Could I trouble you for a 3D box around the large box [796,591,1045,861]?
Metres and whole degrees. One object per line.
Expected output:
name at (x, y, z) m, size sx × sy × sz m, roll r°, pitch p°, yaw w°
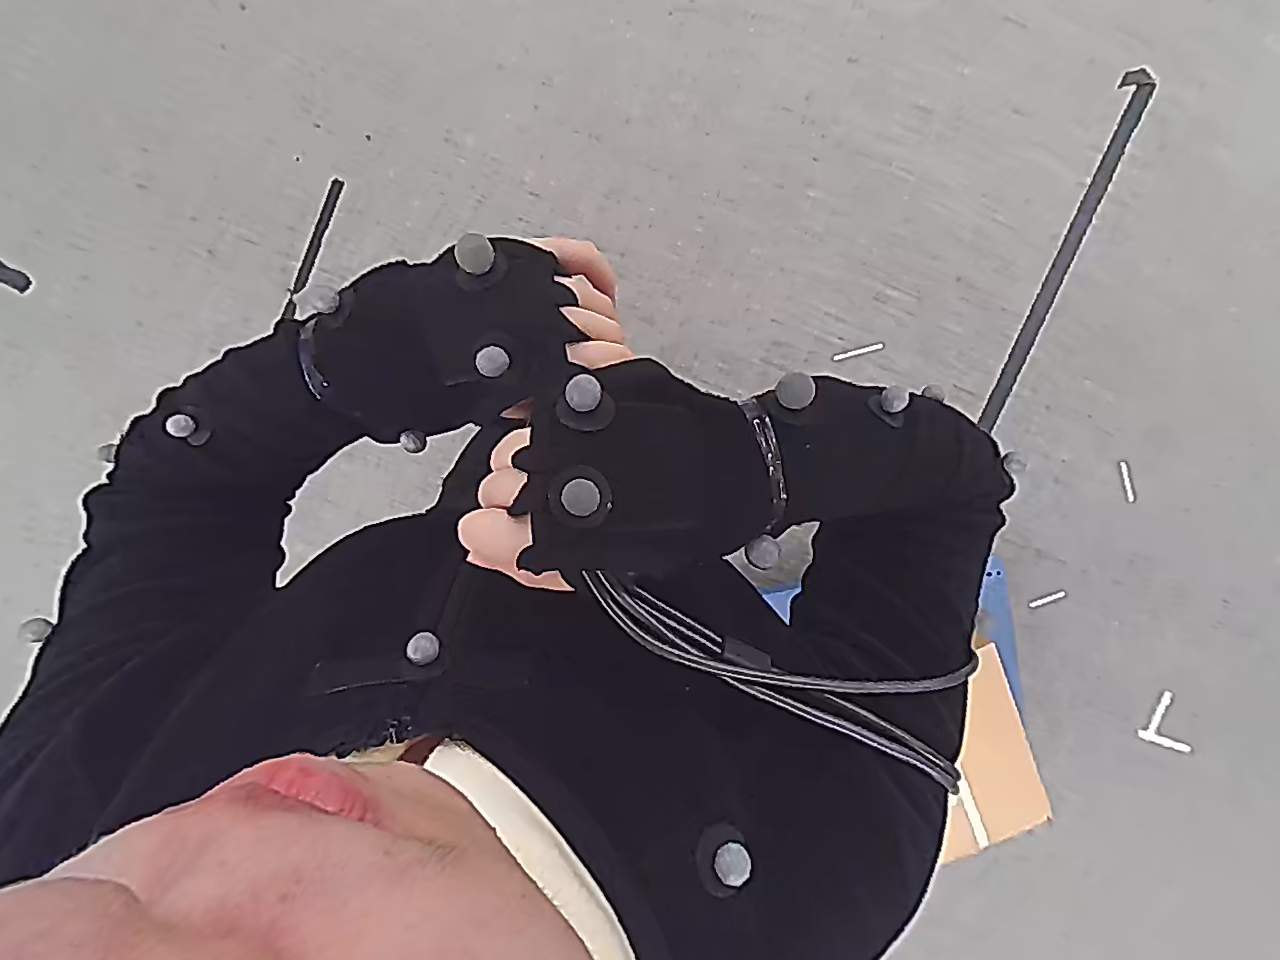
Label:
large box at (0.605, 0.525, 1.227) m, size 0.320 × 0.320 × 0.408 m, roll -22°, pitch 97°, yaw 1°
